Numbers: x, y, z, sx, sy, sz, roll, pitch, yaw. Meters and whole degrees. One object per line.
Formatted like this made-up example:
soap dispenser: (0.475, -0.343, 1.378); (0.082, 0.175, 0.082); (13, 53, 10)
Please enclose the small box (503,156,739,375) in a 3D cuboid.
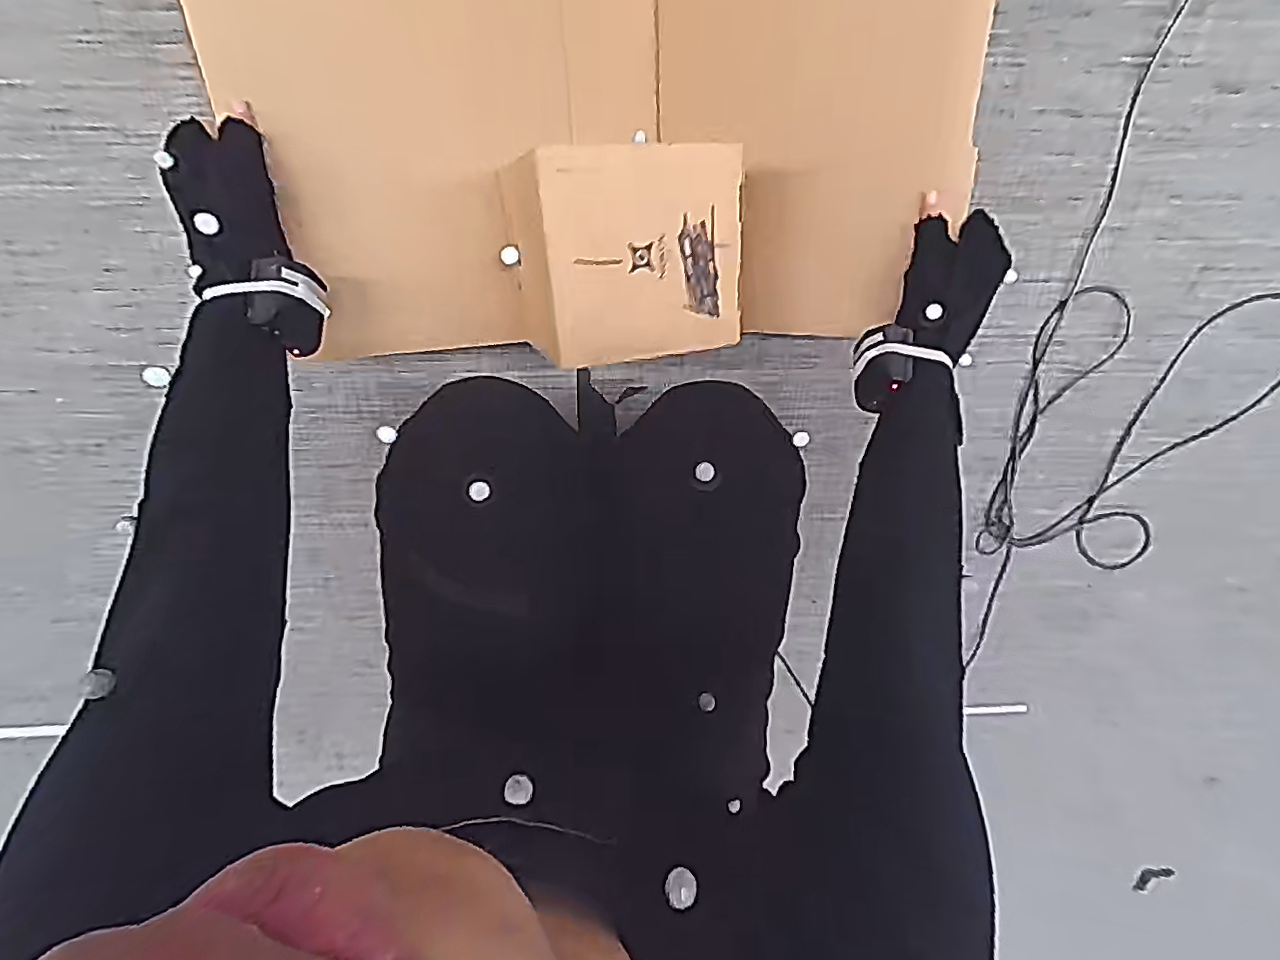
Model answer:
small box: (-0.023, -0.211, 0.523); (0.179, 0.176, 0.168); (-12, 117, -16)
